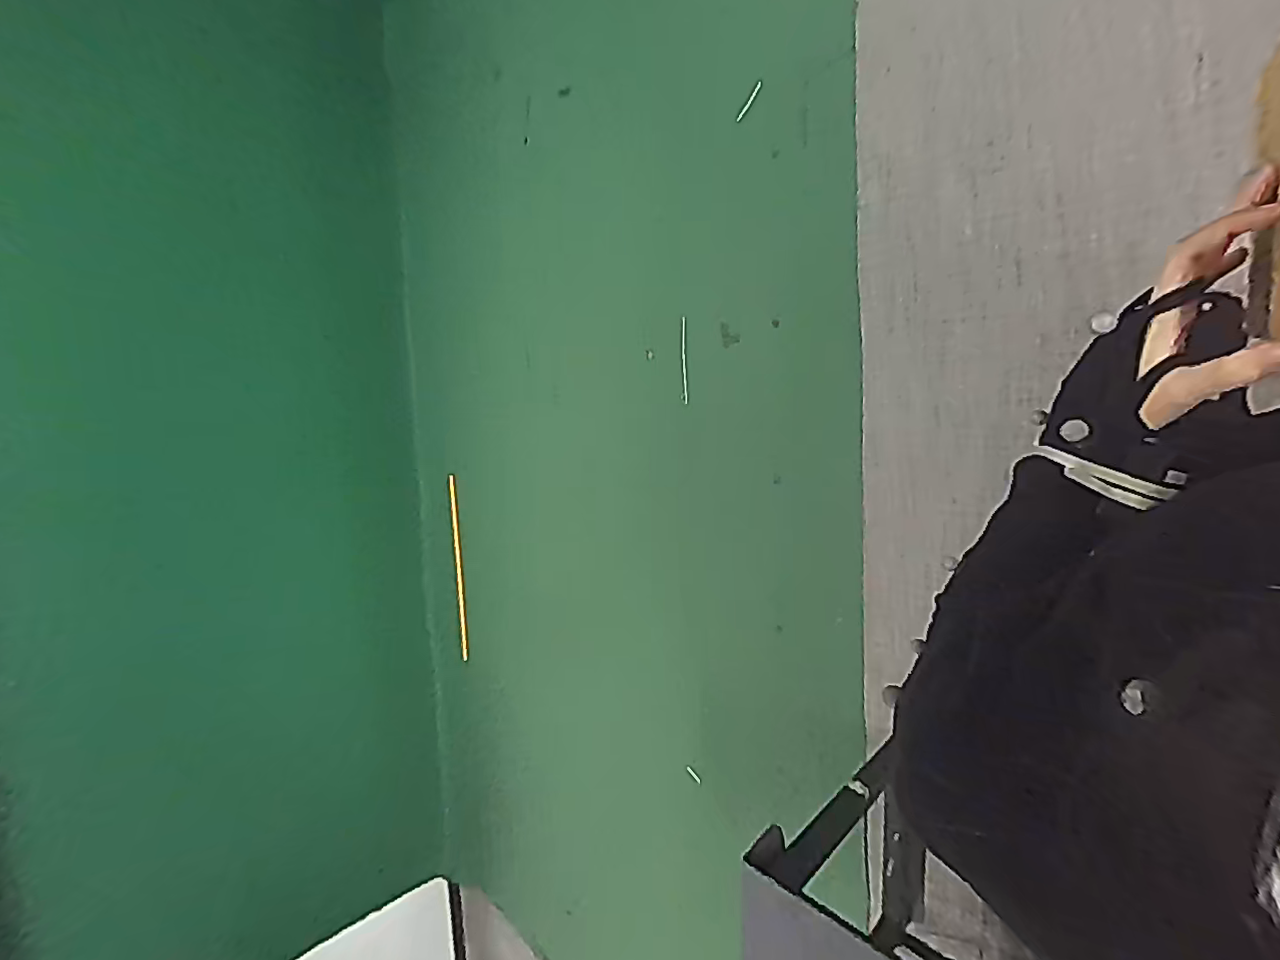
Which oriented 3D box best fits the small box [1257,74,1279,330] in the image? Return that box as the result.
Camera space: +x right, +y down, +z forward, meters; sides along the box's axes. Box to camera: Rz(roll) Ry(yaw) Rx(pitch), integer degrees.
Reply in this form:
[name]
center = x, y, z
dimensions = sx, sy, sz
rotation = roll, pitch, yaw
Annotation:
[small box]
center = 0.431, -0.167, 0.251
dimensions = 0.179, 0.176, 0.168
rotation = -1, 104, 45
